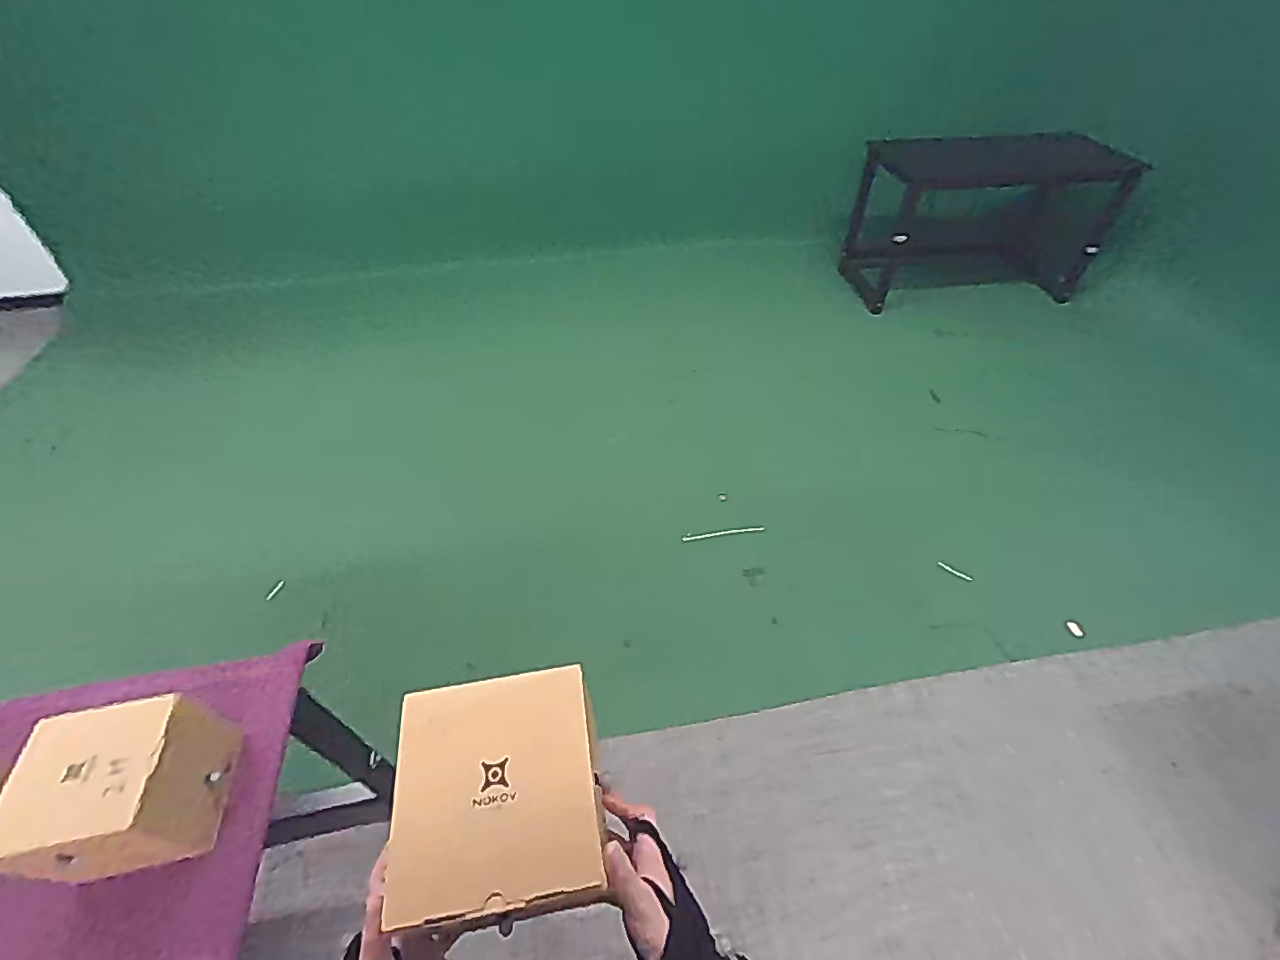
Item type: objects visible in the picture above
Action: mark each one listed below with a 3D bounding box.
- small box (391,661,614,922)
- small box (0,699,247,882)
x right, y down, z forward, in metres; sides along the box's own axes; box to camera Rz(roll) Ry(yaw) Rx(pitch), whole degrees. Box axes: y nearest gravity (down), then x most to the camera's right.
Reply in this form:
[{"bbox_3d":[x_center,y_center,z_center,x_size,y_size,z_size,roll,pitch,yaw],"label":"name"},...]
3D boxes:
[{"bbox_3d":[-0.117,0.298,0.518,0.168,0.176,0.179,-8,52,-6],"label":"small box"},{"bbox_3d":[-0.697,0.428,0.743,0.179,0.176,0.168,-9,48,-7],"label":"small box"}]
